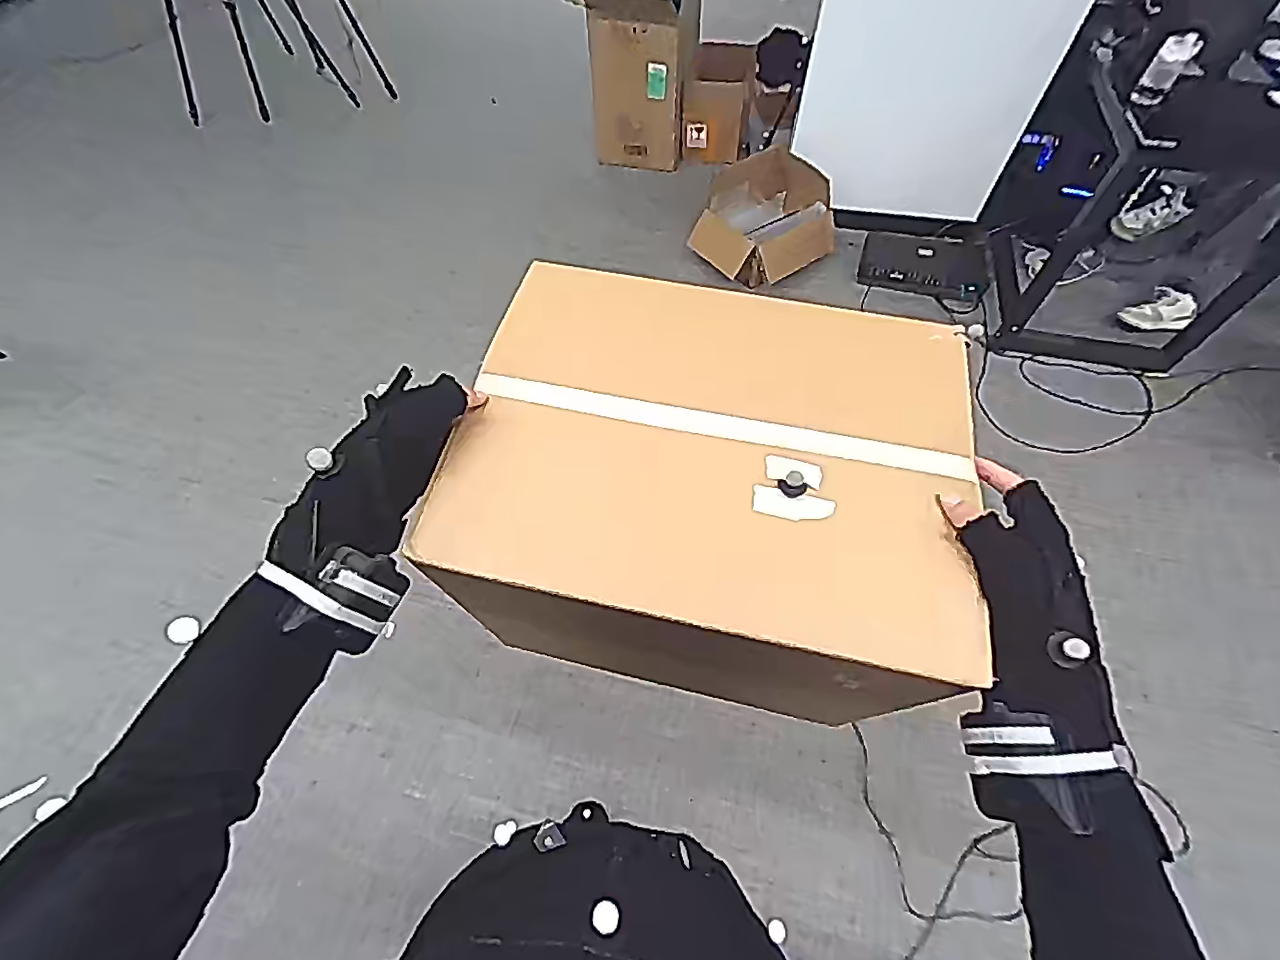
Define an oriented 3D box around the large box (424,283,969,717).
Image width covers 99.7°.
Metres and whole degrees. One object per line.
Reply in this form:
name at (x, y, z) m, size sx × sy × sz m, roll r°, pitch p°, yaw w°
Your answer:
large box at (0.059, 0.037, 0.584) m, size 0.408 × 0.320 × 0.320 m, roll 12°, pitch 62°, yaw 6°
